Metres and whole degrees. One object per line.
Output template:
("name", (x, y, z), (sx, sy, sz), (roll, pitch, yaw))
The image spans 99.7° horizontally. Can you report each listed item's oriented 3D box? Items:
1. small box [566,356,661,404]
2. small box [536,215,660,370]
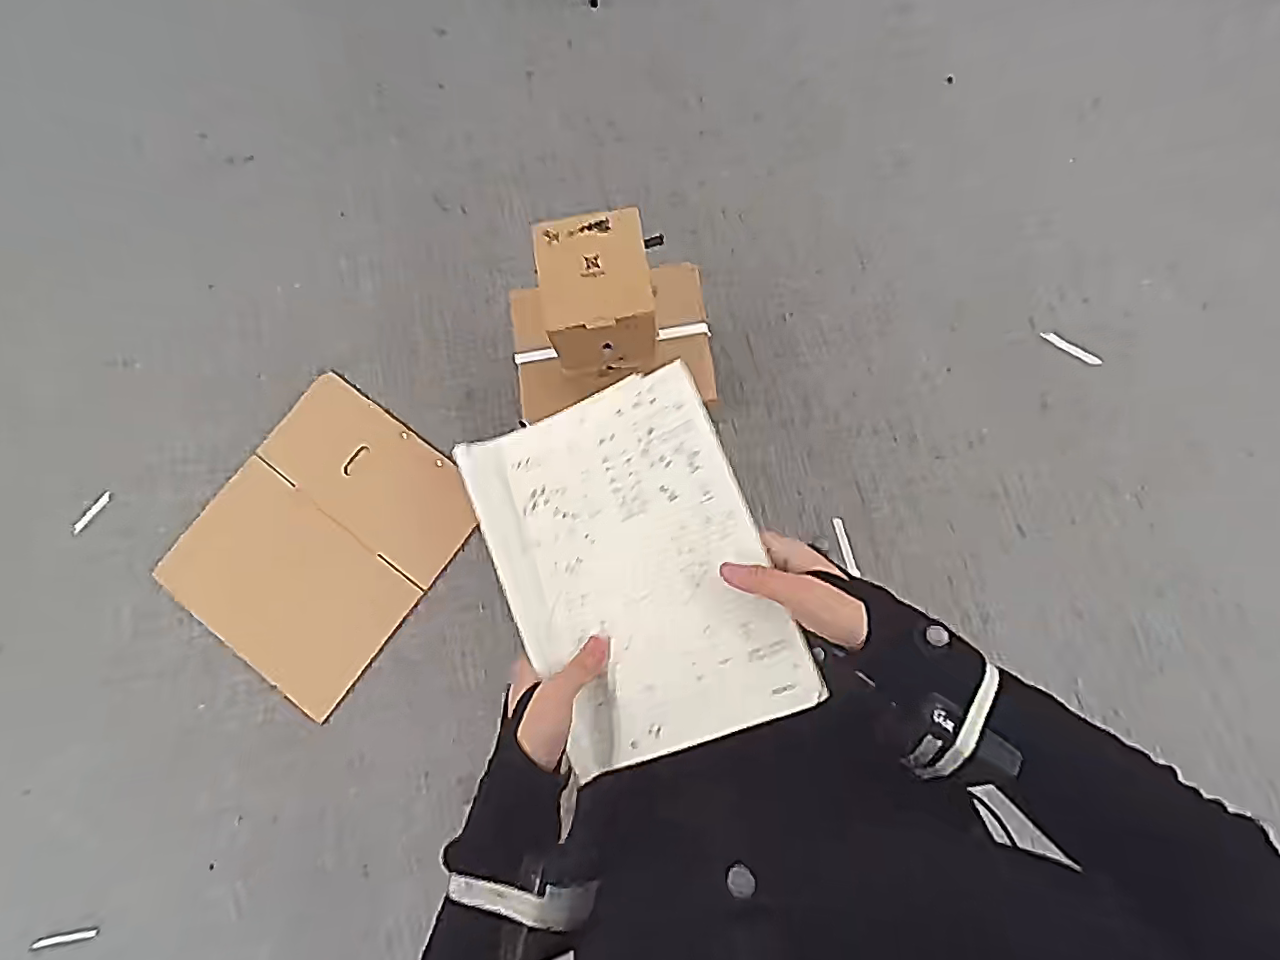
("small box", (-0.049, -0.253, 1.037), (0.168, 0.176, 0.179), (-6, 80, 2))
("small box", (-0.060, -0.289, 0.877), (0.168, 0.176, 0.179), (-9, 82, 1))
